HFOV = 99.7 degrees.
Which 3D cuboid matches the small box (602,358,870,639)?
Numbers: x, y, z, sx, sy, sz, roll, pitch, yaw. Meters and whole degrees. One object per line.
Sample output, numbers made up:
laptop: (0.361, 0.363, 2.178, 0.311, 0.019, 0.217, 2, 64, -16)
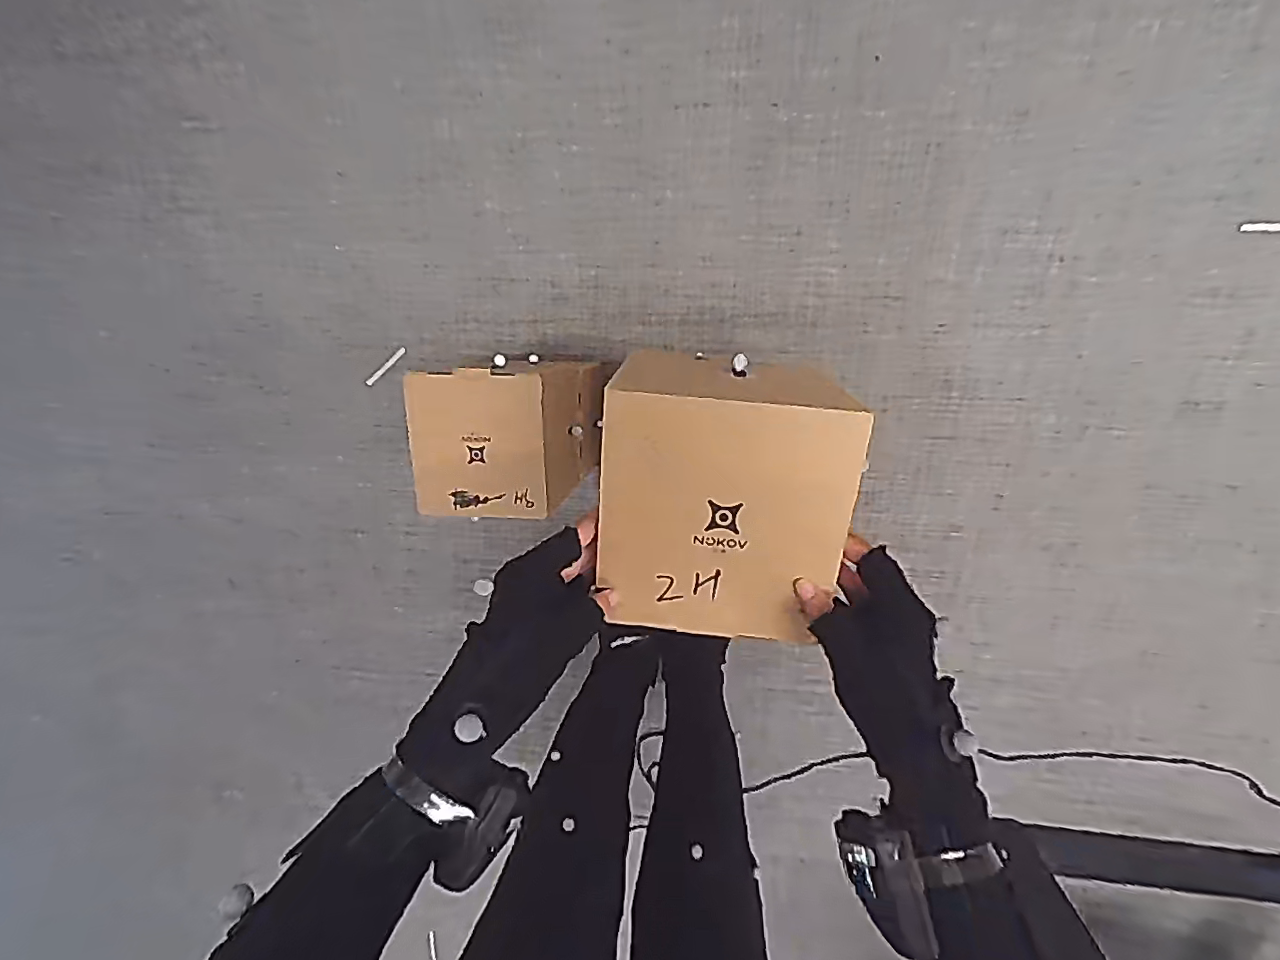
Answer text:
small box: (0.066, 0.000, 0.445, 0.168, 0.176, 0.179, 6, 111, 5)
